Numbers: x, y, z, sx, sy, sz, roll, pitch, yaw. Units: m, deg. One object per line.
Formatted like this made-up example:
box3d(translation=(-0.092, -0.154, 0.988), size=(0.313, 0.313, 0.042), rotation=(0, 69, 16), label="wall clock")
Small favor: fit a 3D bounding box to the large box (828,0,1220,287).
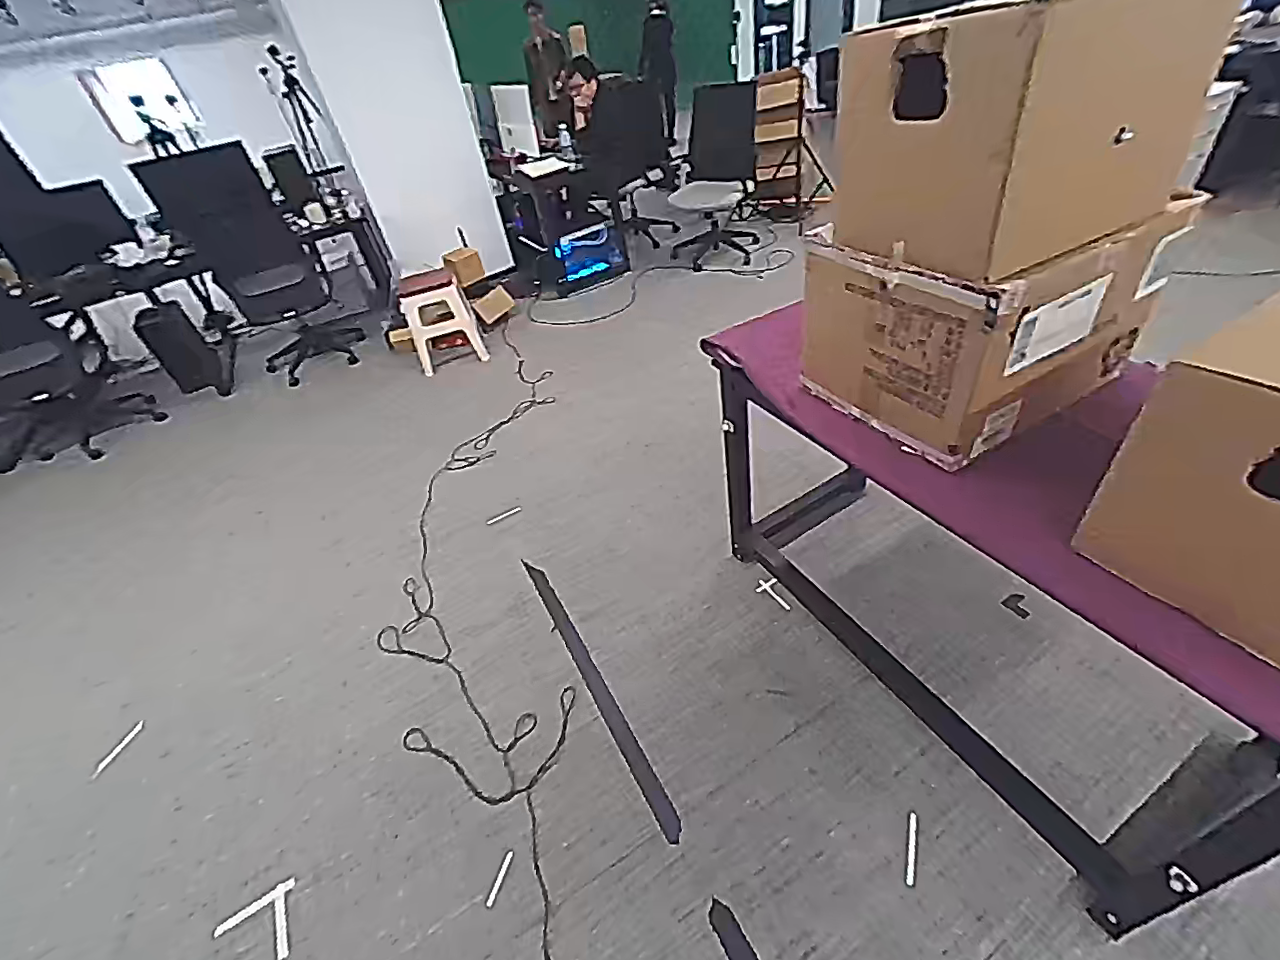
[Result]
box3d(translation=(0.553, -0.540, 0.837), size=(0.408, 0.320, 0.320), rotation=(-26, 38, -15), label="large box")
